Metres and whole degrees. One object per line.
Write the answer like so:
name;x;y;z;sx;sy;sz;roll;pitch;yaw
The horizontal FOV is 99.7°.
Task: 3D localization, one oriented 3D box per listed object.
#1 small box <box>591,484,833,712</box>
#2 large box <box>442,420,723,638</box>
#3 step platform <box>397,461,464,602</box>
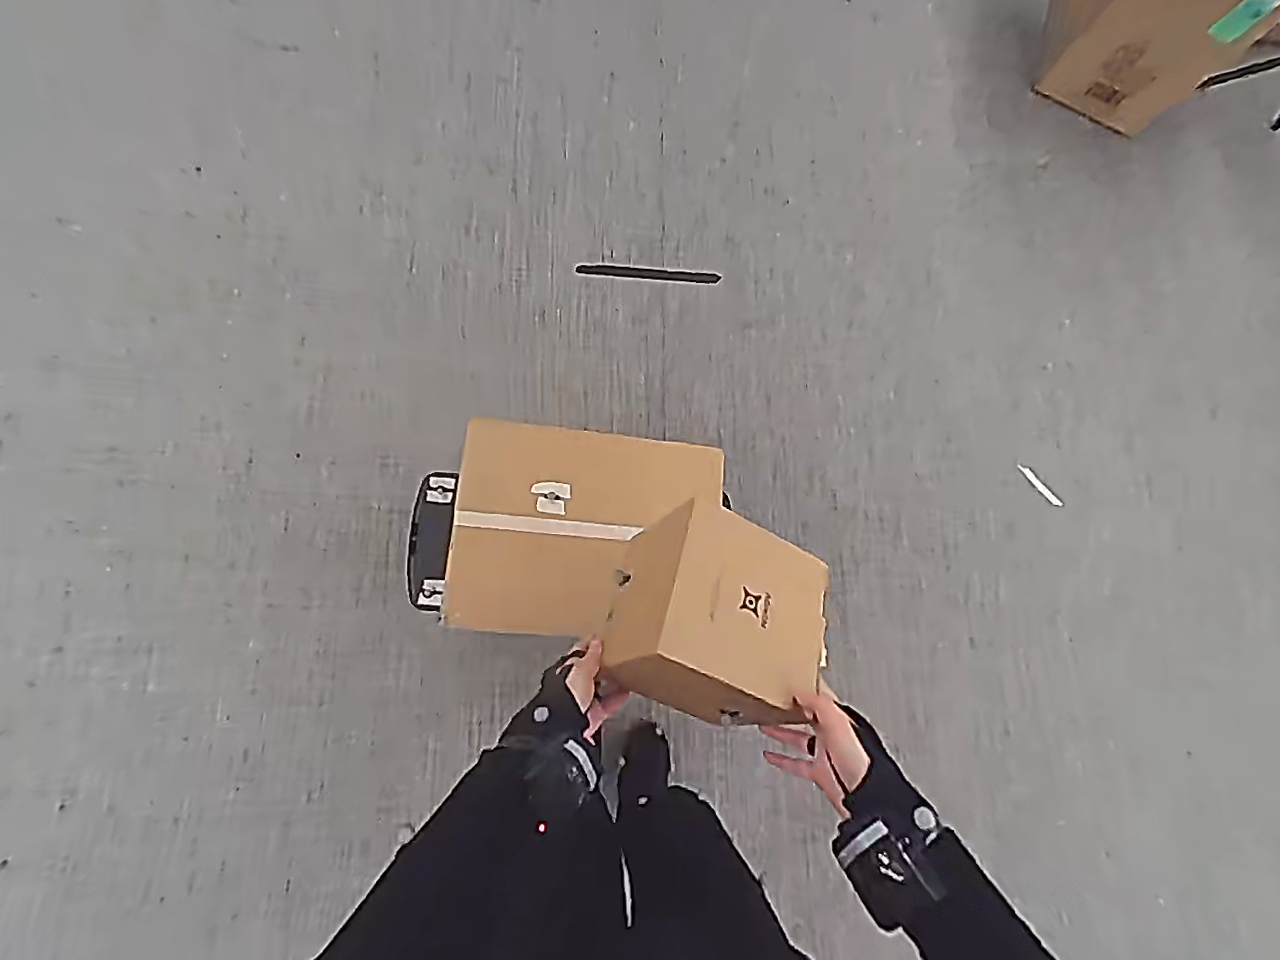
small box;0.074;0.135;0.576;0.179;0.176;0.168;27;57;-14
large box;-0.090;0.103;0.952;0.408;0.320;0.320;6;78;-7
step platform;-0.152;0.150;1.179;0.684;0.204;0.286;8;78;-6
